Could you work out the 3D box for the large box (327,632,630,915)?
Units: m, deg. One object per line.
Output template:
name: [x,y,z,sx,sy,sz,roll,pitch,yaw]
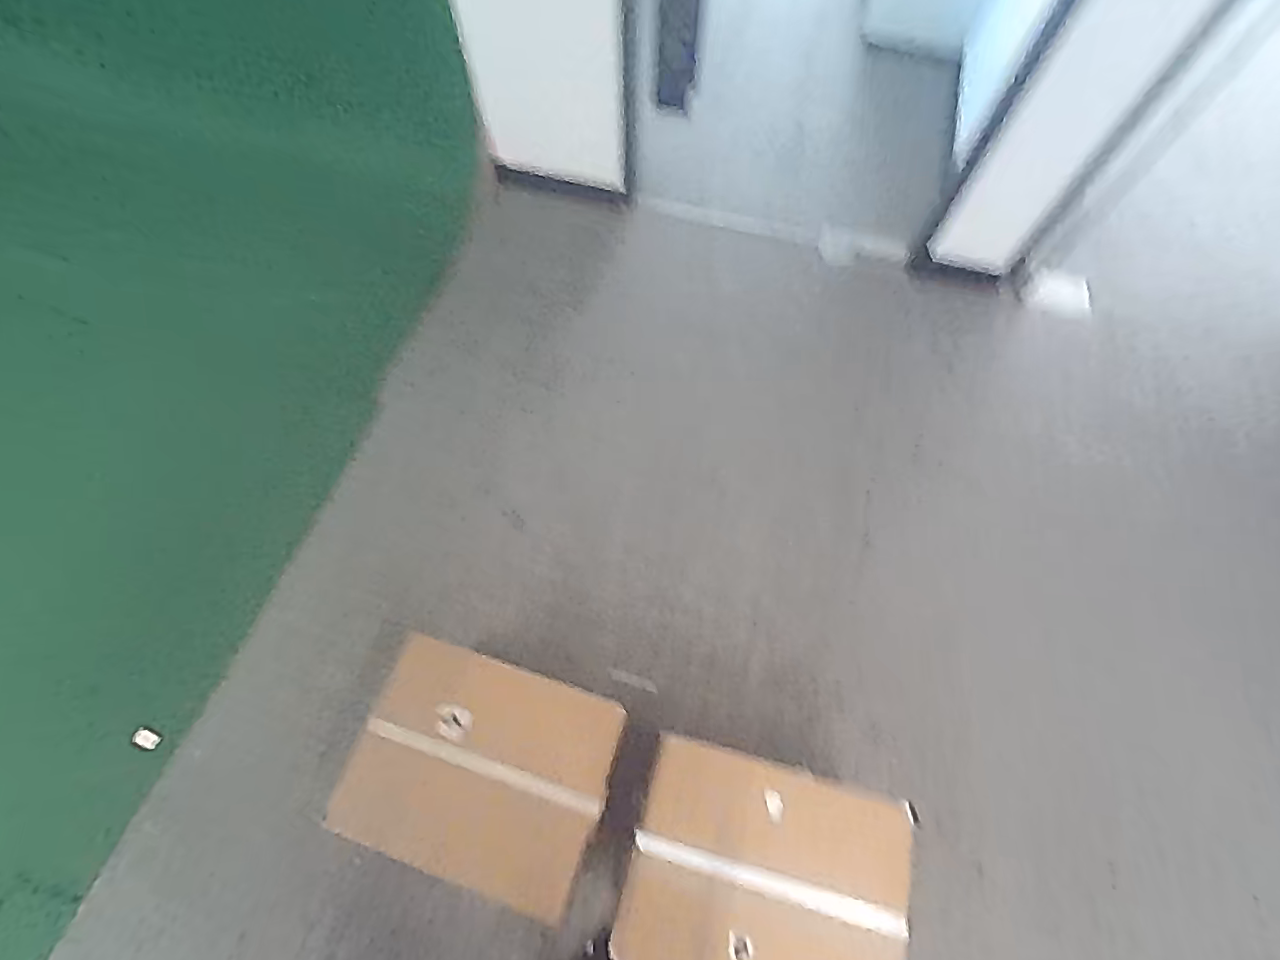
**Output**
large box: [-0.256,0.518,1.014,0.408,0.320,0.320,17,66,9]
